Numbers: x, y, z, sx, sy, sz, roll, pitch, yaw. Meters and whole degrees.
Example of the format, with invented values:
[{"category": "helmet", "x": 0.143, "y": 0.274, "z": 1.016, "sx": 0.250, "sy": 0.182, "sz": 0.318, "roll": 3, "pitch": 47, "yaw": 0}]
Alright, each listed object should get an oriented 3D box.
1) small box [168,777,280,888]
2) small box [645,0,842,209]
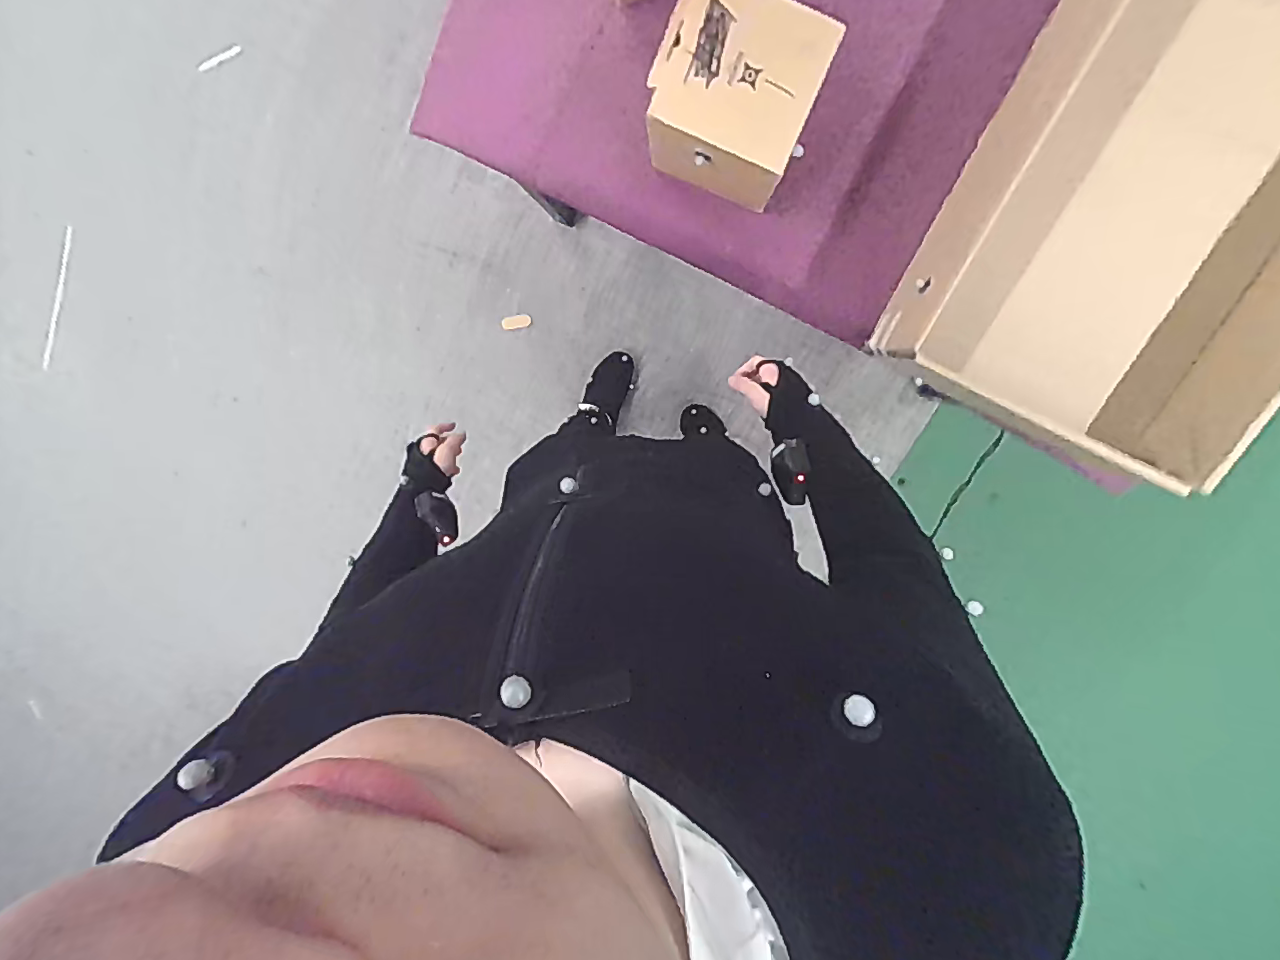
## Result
[{"category": "small box", "x": -1.192, "y": 1.011, "z": 1.567, "sx": 0.168, "sy": 0.176, "sz": 0.179, "roll": 34, "pitch": 102, "yaw": -3}, {"category": "small box", "x": 0.120, "y": -0.477, "z": 0.694, "sx": 0.179, "sy": 0.176, "sz": 0.168, "roll": 24, "pitch": 103, "yaw": -1}]
